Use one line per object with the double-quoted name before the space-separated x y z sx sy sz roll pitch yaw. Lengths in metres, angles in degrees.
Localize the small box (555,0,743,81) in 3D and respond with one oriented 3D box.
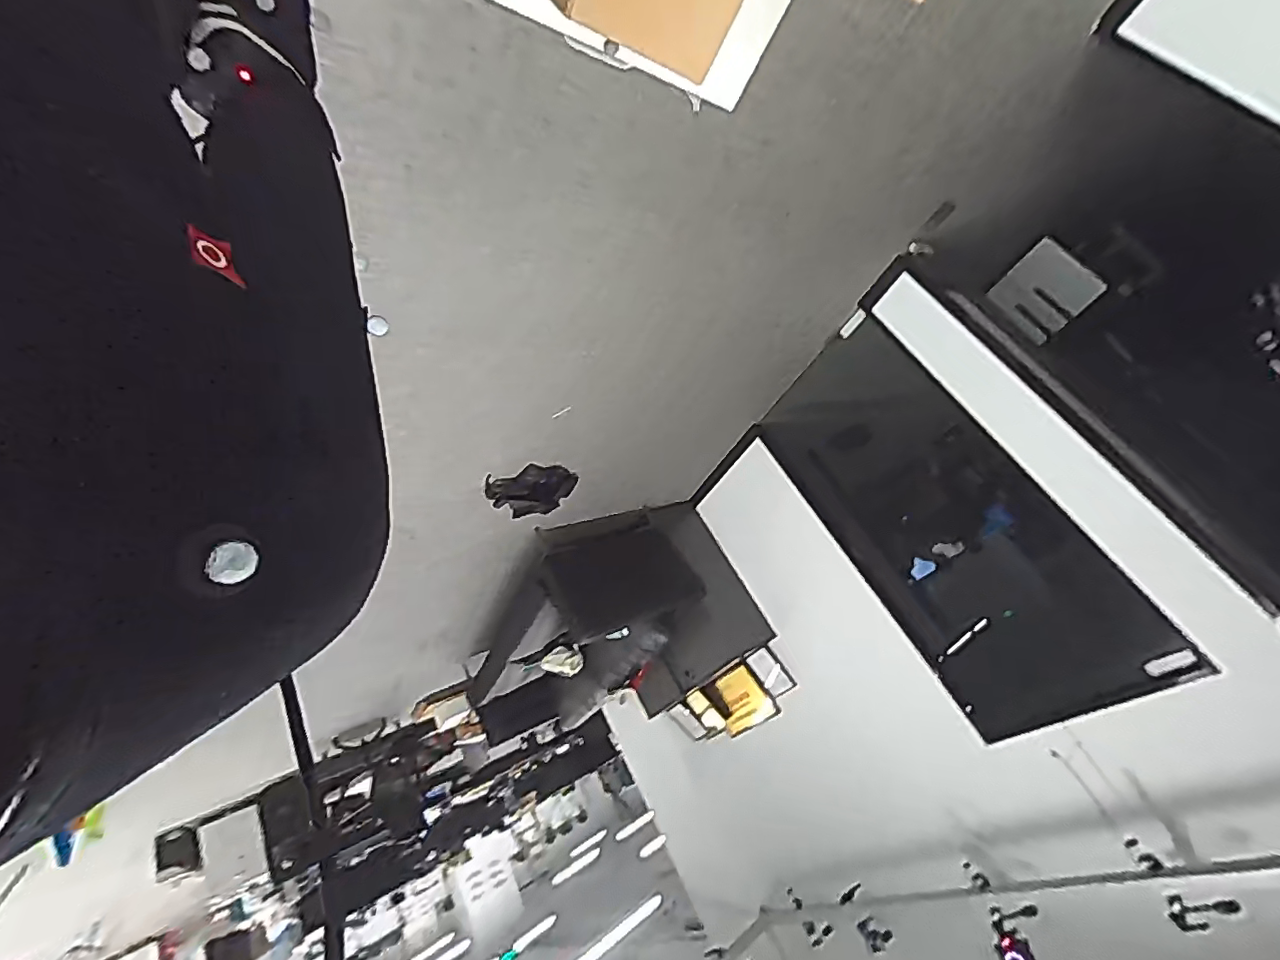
"small box" 0.002 -0.524 0.498 0.179 0.176 0.168 -10 149 -40
